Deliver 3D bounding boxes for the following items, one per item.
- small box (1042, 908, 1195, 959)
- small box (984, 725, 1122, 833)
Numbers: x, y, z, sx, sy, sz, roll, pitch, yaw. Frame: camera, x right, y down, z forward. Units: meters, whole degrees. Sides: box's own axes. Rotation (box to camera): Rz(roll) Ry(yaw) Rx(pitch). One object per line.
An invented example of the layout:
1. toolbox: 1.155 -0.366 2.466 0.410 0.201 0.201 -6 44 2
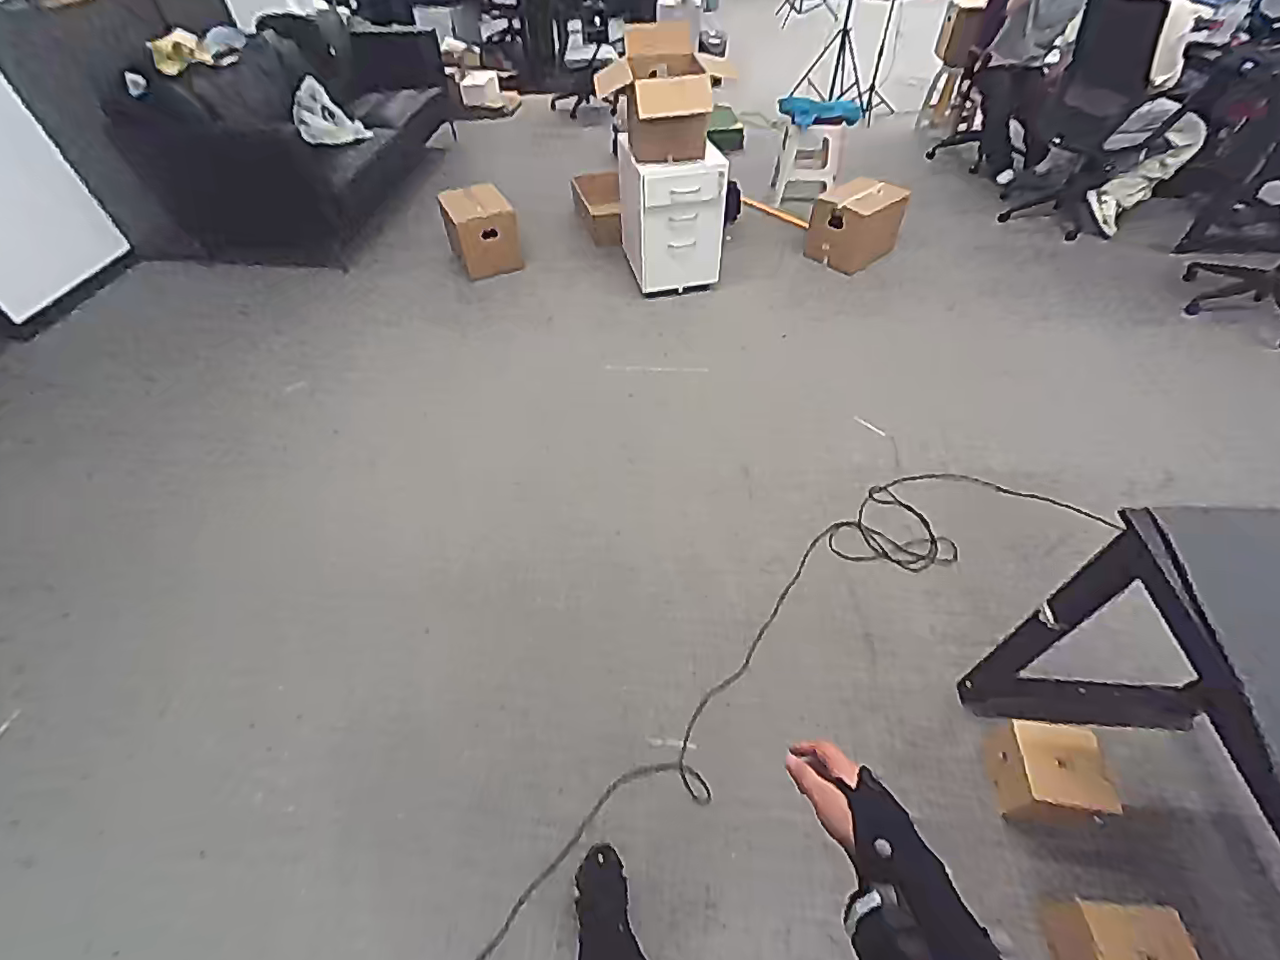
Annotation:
1. small box: 0.896 0.914 1.006 0.179 0.176 0.168 2 49 2
2. small box: 0.911 0.678 1.220 0.179 0.176 0.168 6 48 7
